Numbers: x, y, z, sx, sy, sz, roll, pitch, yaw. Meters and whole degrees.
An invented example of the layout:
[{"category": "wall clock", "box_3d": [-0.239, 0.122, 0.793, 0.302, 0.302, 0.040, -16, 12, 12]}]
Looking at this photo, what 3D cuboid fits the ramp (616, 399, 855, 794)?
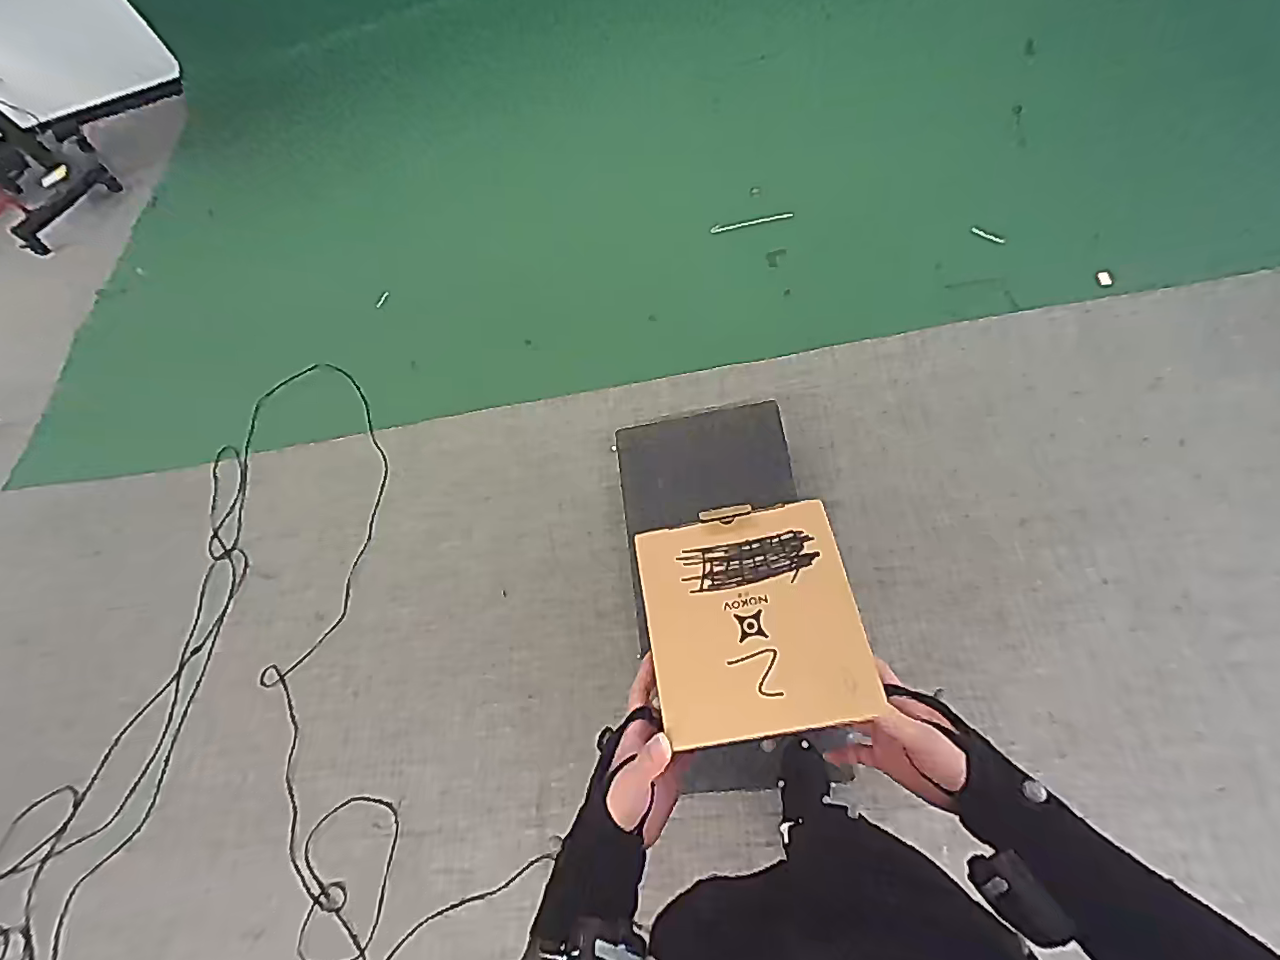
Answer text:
[{"category": "ramp", "box_3d": [0.228, 0.280, 1.470, 0.509, 0.206, 0.991, -11, 64, 7]}]
